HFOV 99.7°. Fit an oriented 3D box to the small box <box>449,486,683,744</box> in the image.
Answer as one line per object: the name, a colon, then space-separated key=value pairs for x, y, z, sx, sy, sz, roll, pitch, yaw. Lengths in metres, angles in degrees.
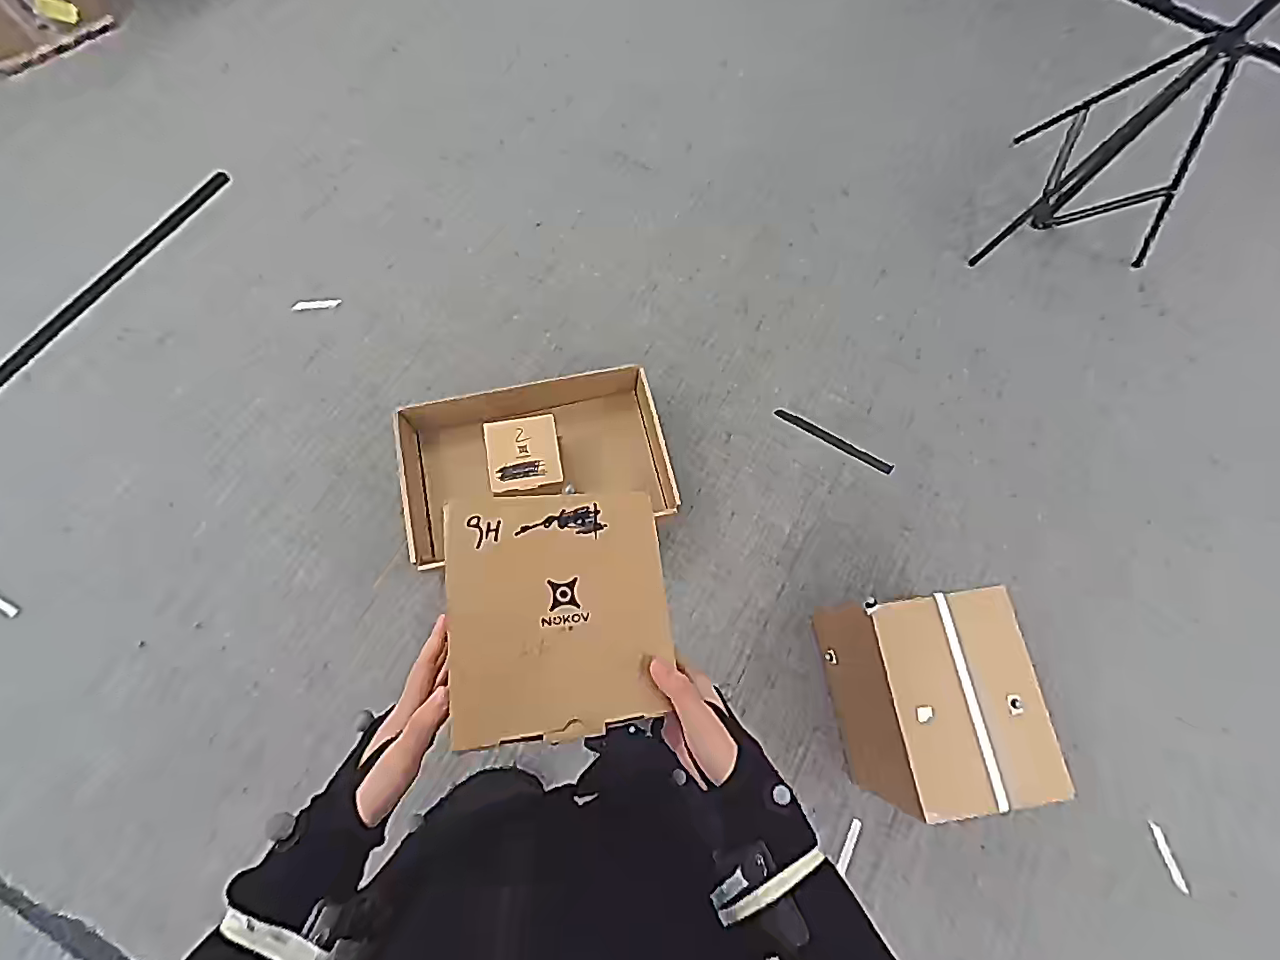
small box: x=-0.079 y=0.113 z=0.477 sx=0.168 sy=0.176 sz=0.179 roll=-2 pitch=73 yaw=-21
